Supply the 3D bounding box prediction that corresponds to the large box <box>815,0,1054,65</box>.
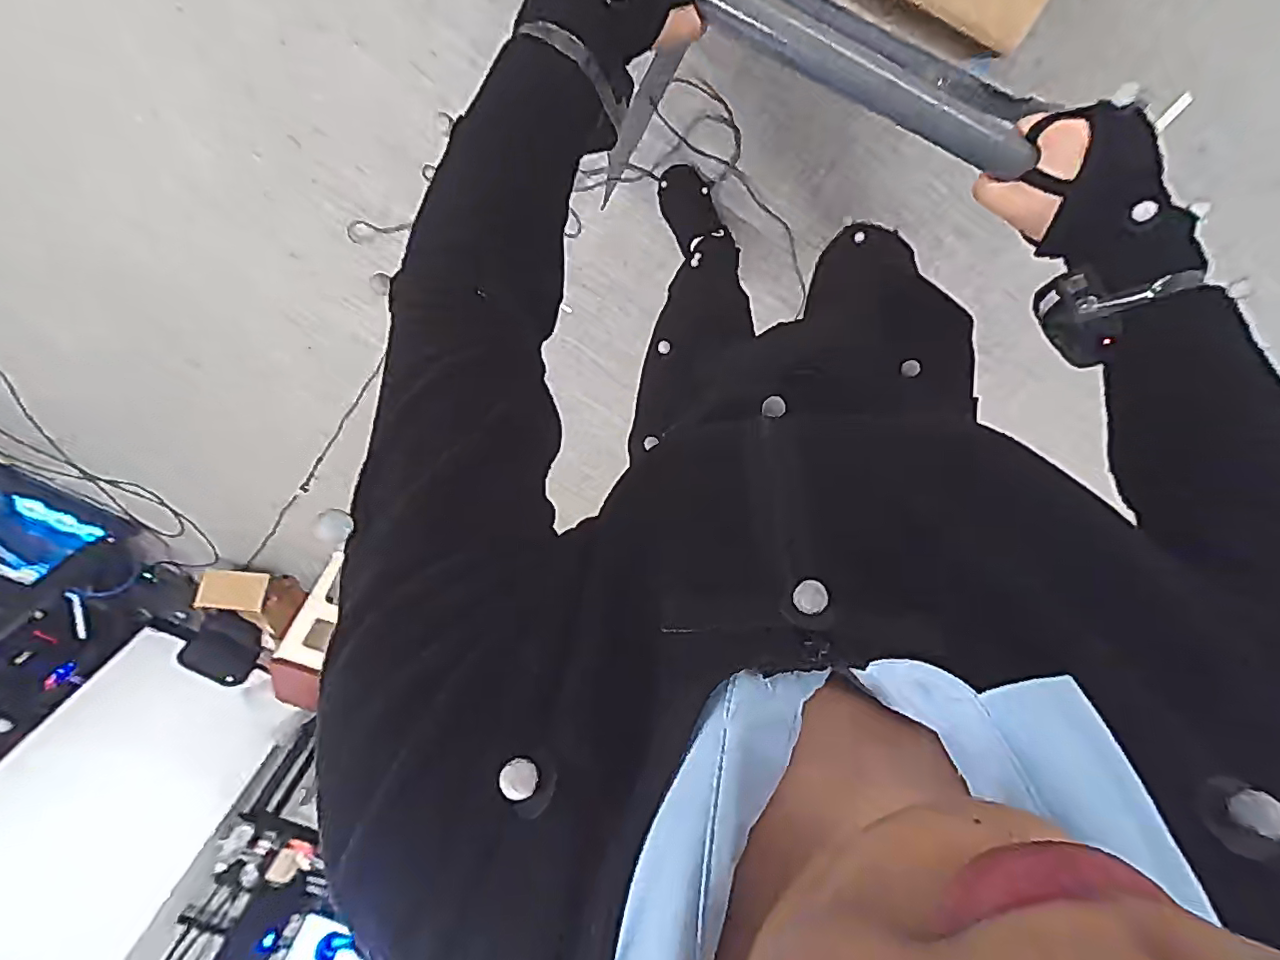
[{"bbox_3d":[0.337,-0.766,0.645,0.408,0.320,0.320,23,128,-8],"label":"large box"}]
